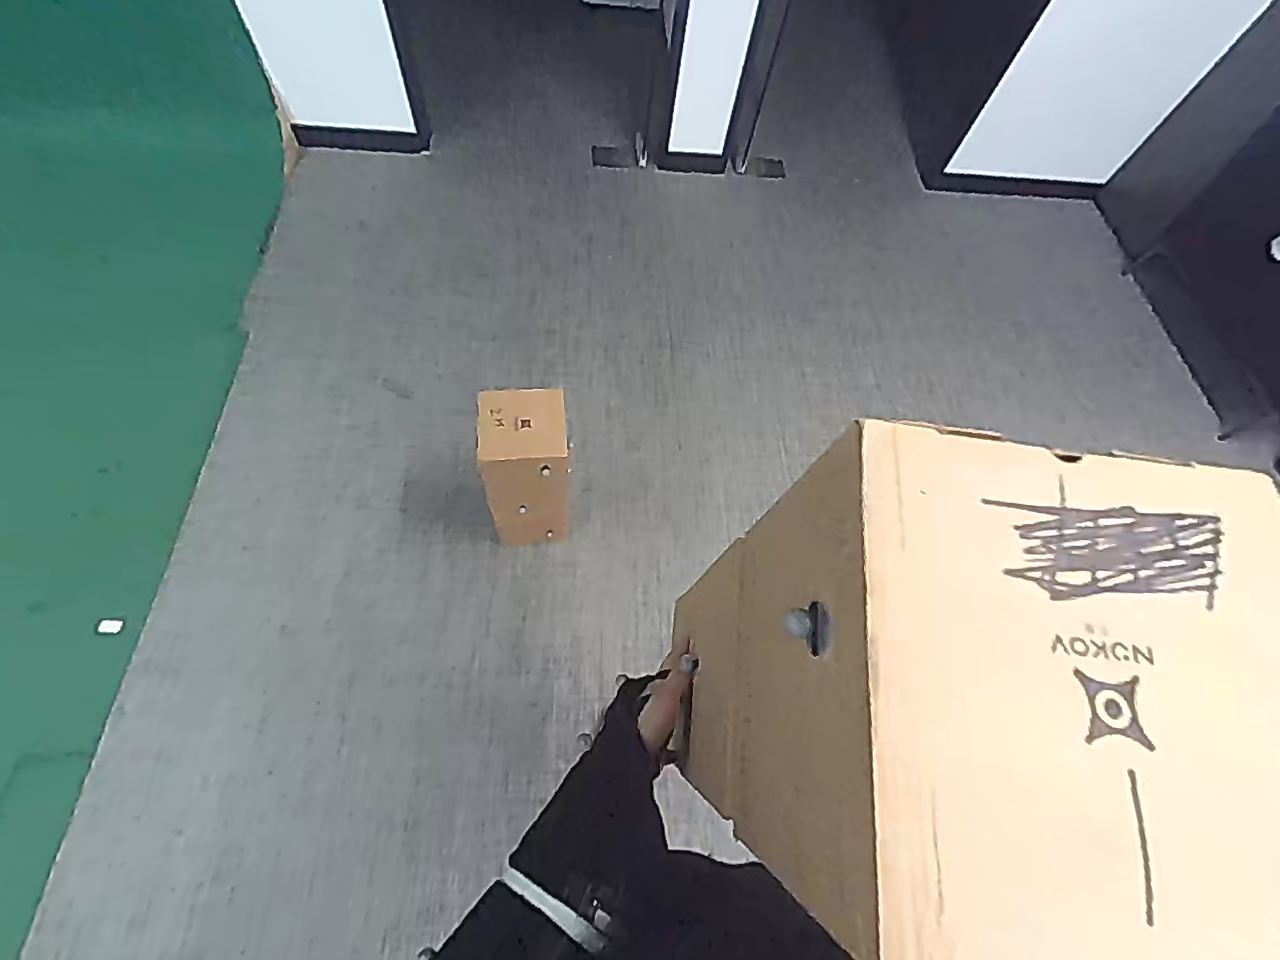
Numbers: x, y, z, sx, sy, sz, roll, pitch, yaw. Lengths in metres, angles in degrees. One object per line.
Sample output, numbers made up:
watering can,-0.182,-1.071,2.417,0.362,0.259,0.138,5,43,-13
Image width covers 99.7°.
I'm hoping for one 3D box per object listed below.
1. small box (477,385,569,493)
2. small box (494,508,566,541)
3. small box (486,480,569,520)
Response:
small box,-0.242,-0.083,1.146,0.179,0.176,0.168,-4,63,-8
small box,-0.289,0.056,1.442,0.179,0.176,0.168,-5,64,-7
small box,-0.266,-0.012,1.293,0.179,0.176,0.168,-5,65,-8
